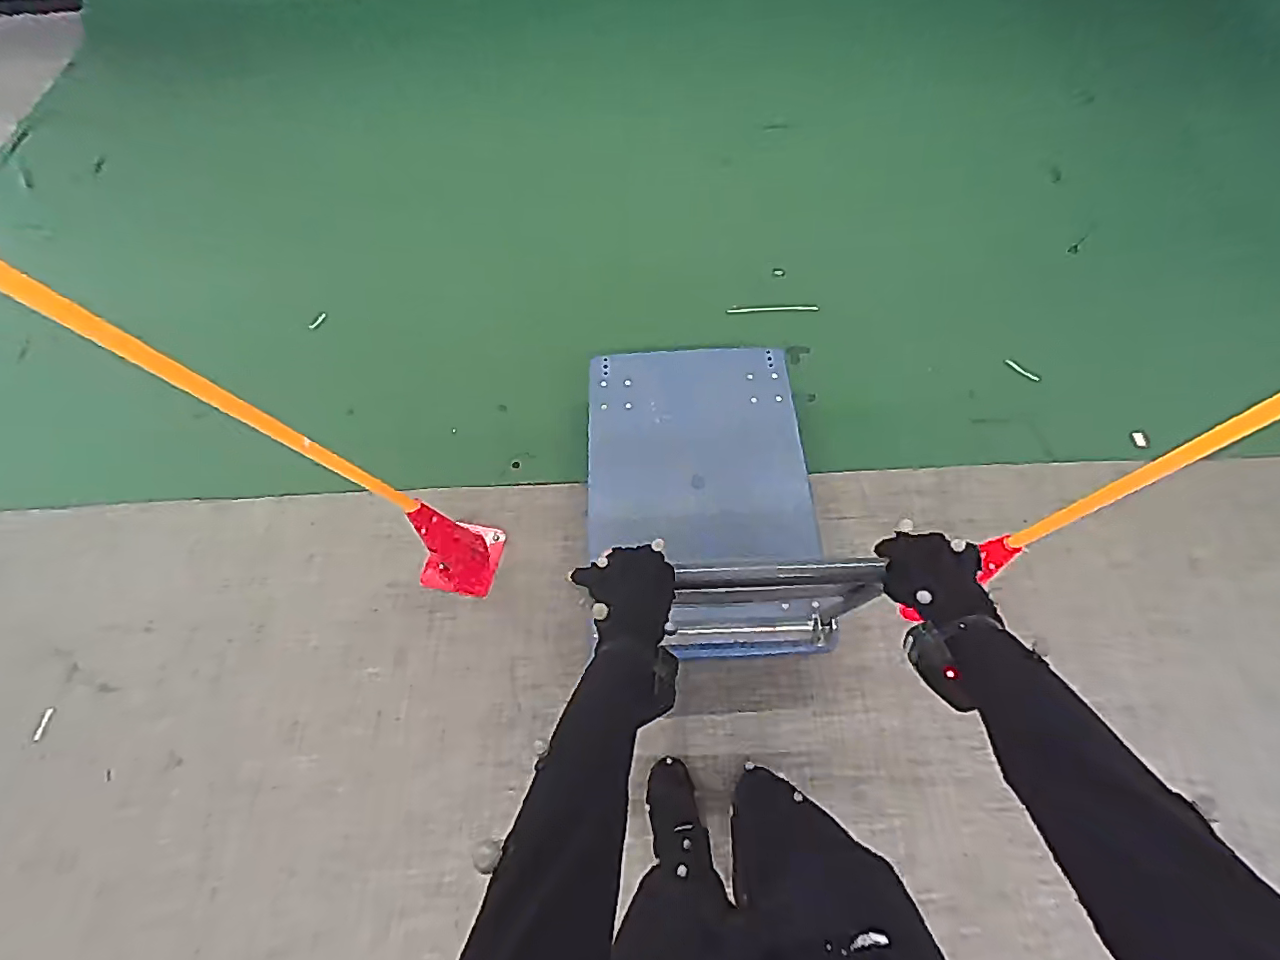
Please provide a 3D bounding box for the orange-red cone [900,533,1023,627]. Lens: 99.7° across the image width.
[{"bbox_3d":[0.786,0.206,1.279,0.198,0.360,0.199,8,65,7],"label":"orange-red cone"}]
